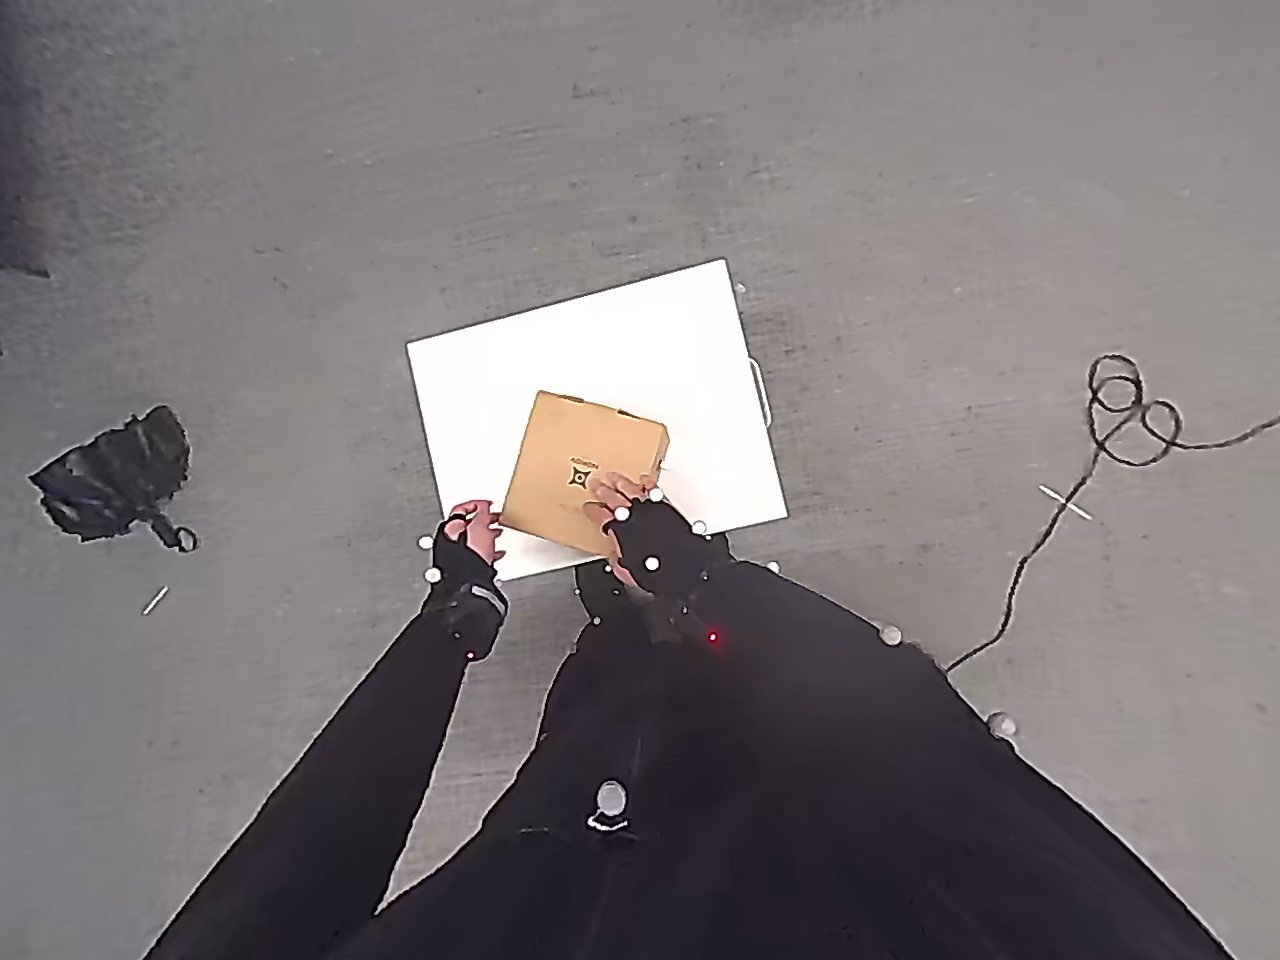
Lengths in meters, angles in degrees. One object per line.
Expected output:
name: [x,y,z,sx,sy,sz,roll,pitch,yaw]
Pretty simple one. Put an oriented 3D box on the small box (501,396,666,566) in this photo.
small box: [-0.064,0.003,0.739,0.168,0.176,0.179,16,90,7]
